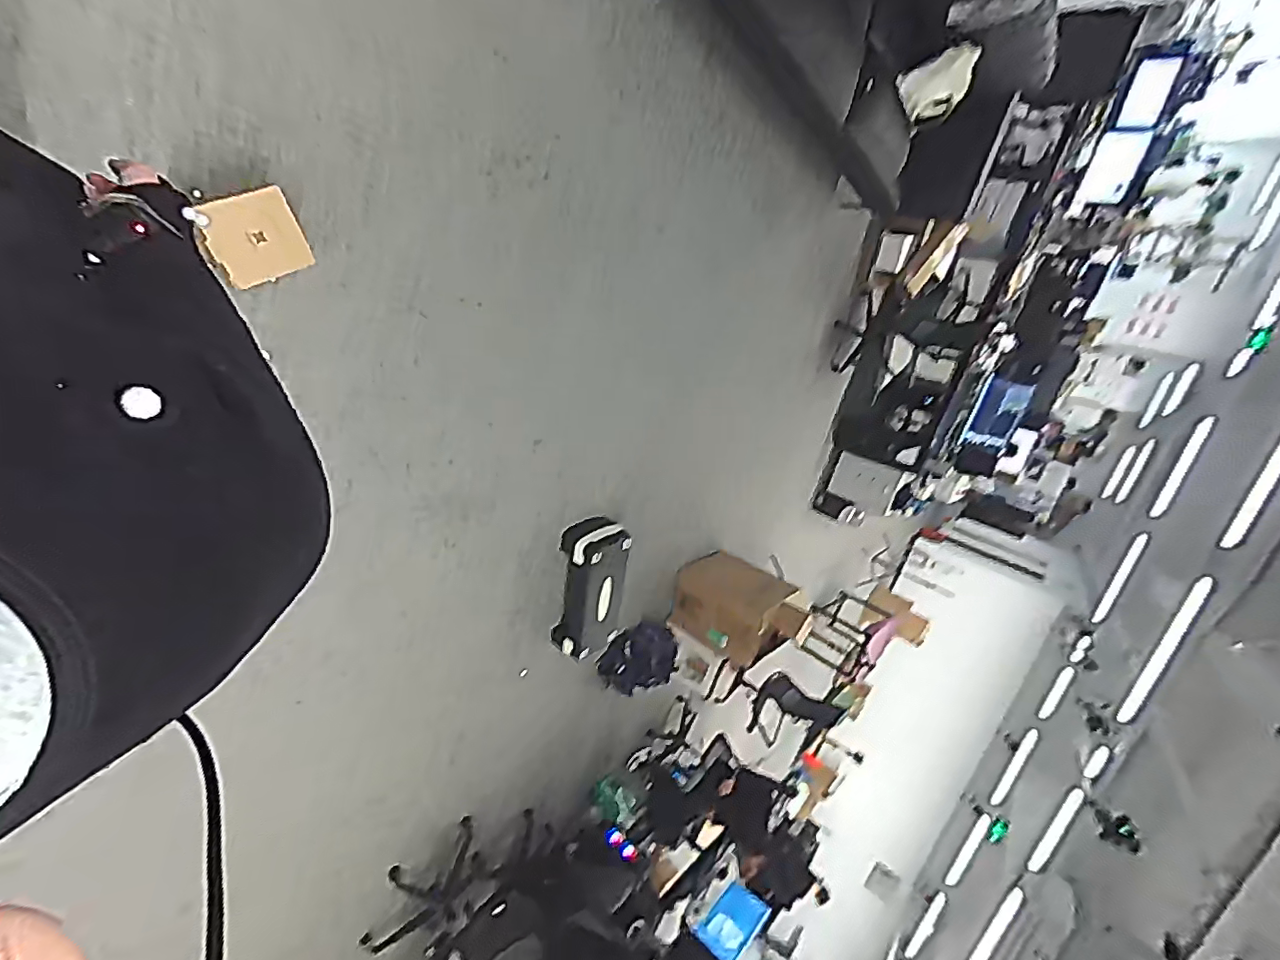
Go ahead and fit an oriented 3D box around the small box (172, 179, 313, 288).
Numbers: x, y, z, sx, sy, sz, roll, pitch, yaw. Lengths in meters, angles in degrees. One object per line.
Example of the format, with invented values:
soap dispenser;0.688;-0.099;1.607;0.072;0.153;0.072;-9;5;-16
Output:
small box;-0.865;-0.539;1.174;0.179;0.176;0.168;-42;142;-31
